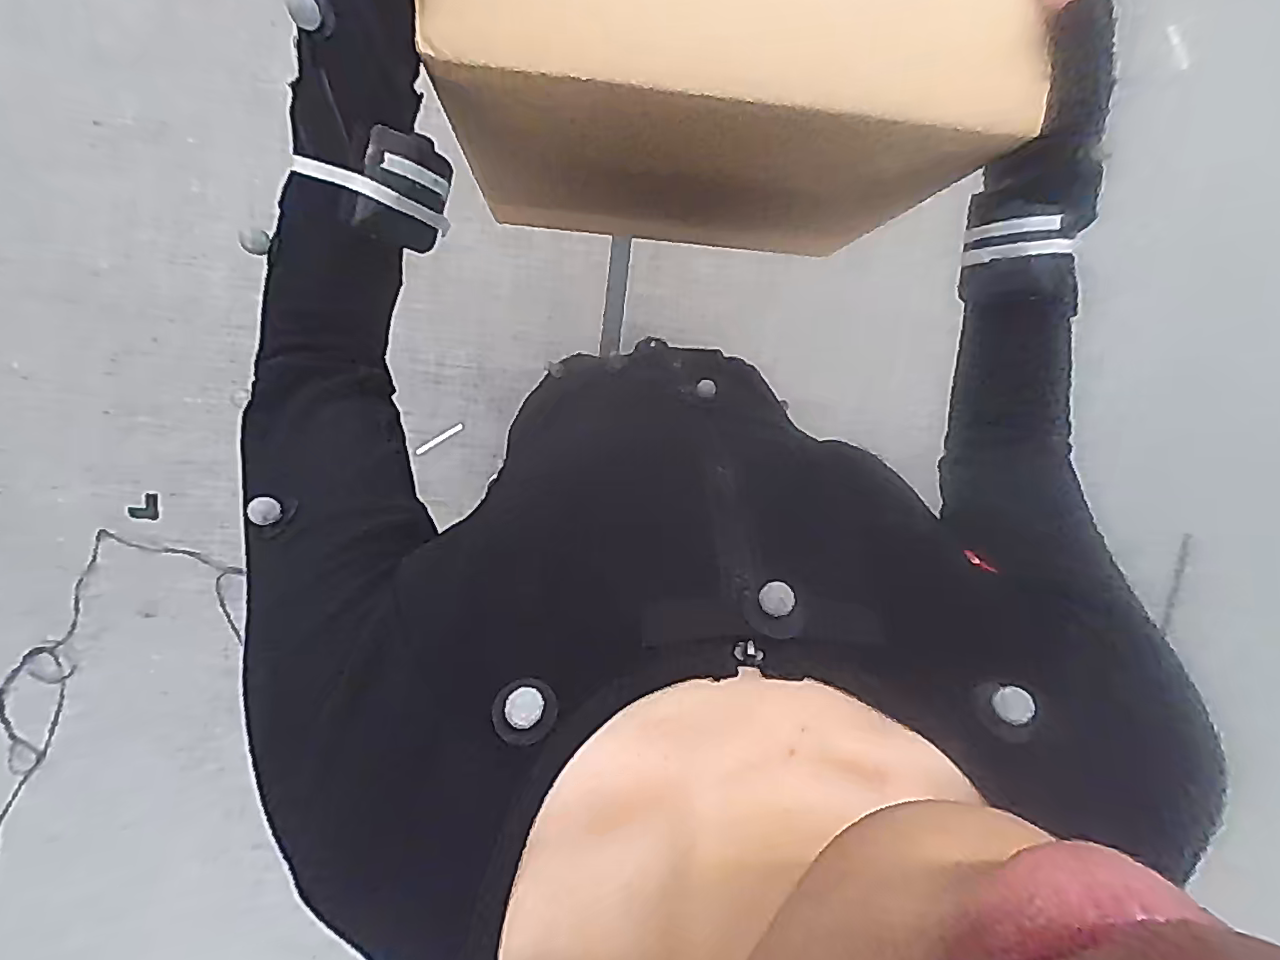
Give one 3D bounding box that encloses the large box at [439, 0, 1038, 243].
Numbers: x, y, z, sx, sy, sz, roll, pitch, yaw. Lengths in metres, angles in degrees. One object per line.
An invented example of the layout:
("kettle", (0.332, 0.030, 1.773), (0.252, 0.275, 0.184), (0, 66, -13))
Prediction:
("large box", (0.058, -0.425, 0.479), (0.408, 0.320, 0.320), (2, 99, -8))
